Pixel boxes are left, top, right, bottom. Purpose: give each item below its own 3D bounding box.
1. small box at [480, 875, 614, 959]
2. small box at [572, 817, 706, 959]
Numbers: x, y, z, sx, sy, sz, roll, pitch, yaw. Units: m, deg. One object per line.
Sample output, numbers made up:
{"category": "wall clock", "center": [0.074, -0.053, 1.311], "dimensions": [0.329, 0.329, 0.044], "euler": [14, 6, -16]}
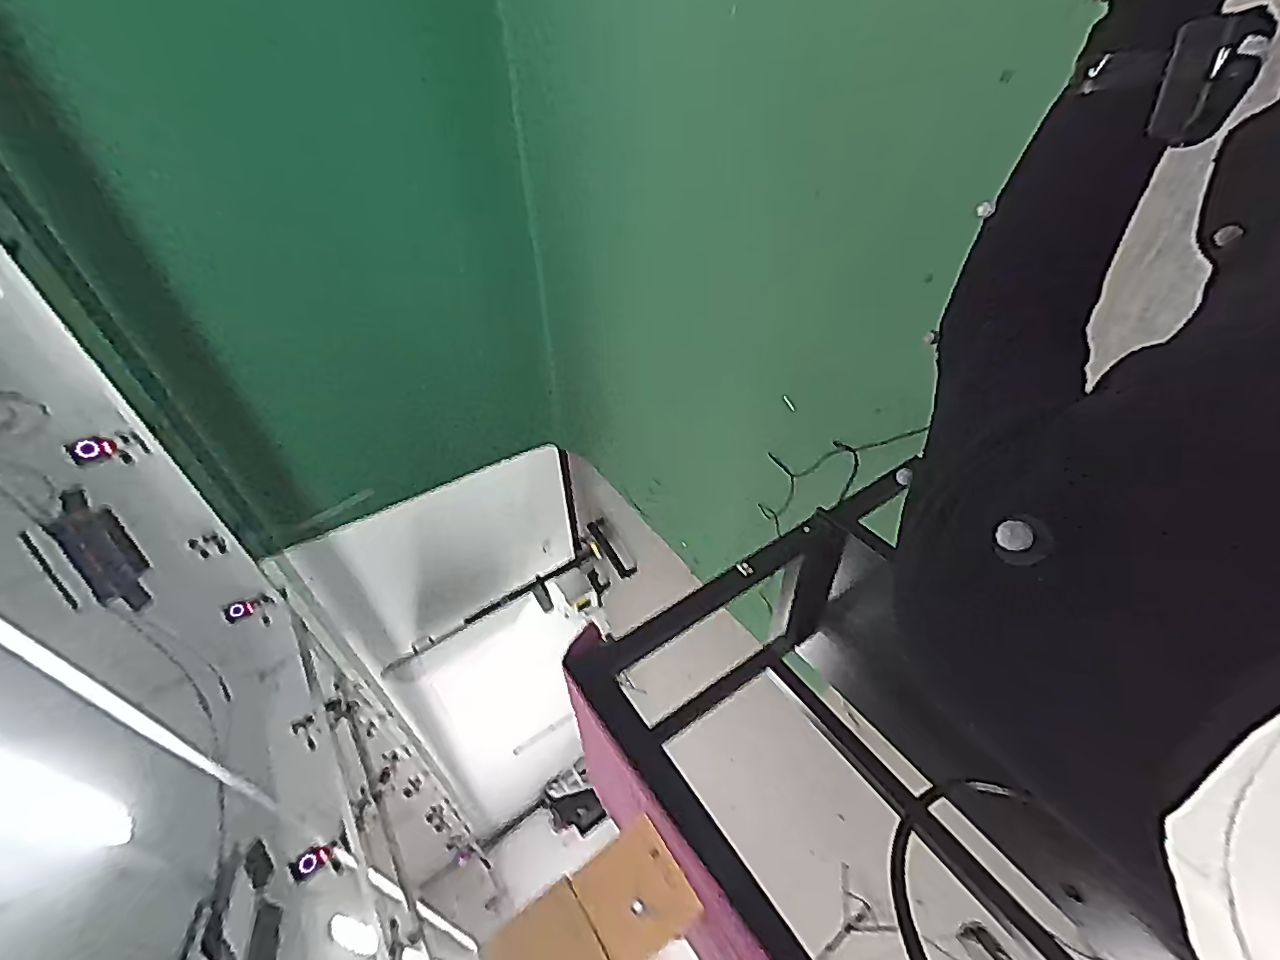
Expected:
{"category": "small box", "center": [-0.132, 0.801, 0.882], "dimensions": [0.179, 0.176, 0.168], "euler": [43, 149, 38]}
{"category": "small box", "center": [0.000, 0.738, 0.955], "dimensions": [0.168, 0.176, 0.179], "euler": [45, 151, 35]}
